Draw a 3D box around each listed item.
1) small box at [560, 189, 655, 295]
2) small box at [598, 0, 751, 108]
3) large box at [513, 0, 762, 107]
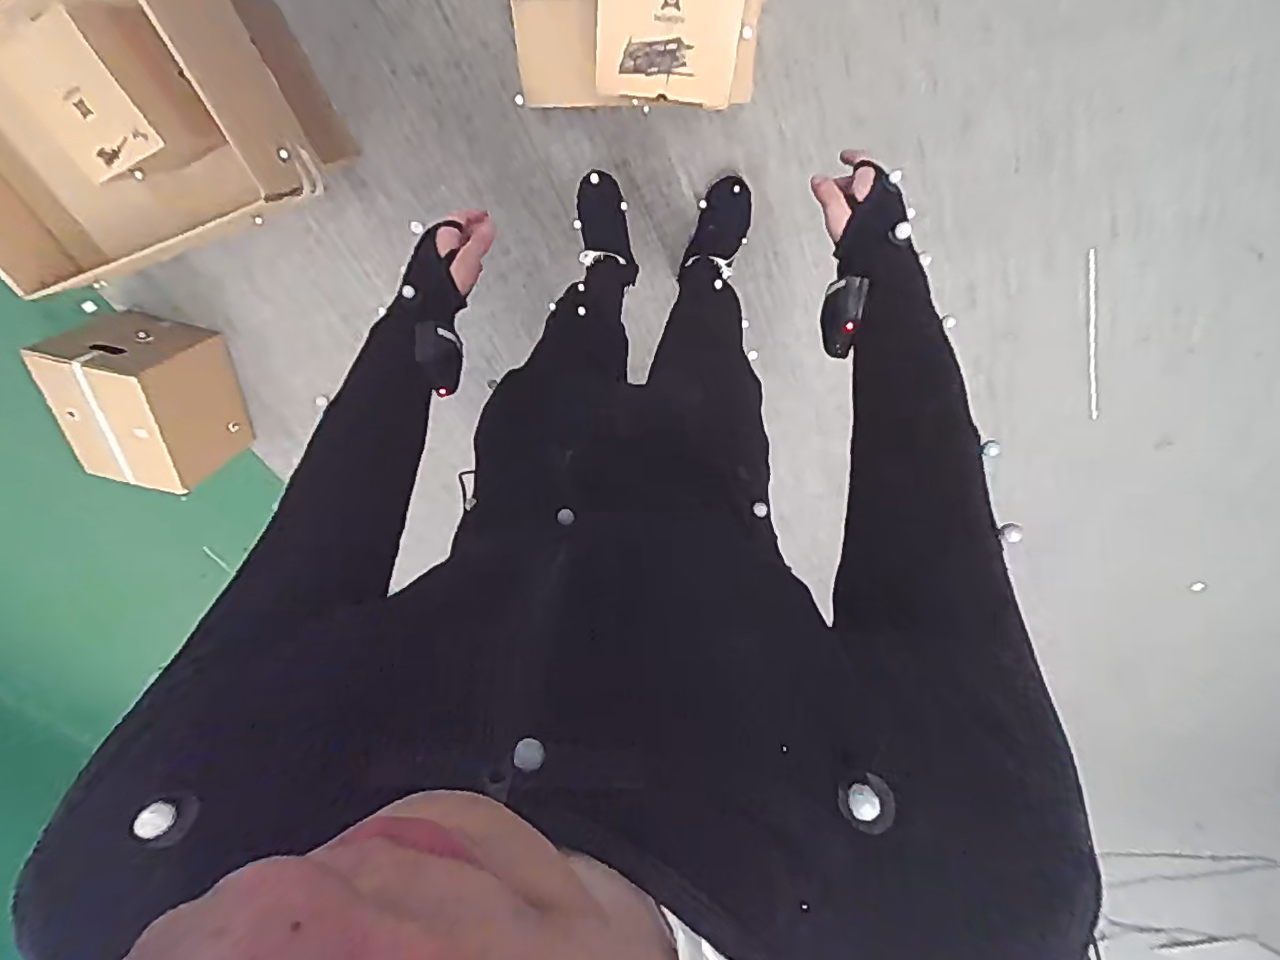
[{"bbox_3d":[-0.072,-0.582,1.310,0.168,0.176,0.179,25,124,-3],"label":"small box"},{"bbox_3d":[0.049,-0.574,0.658,0.168,0.176,0.179,9,129,2],"label":"small box"},{"bbox_3d":[0.010,-0.866,0.957,0.408,0.320,0.320,3,127,7],"label":"large box"}]
